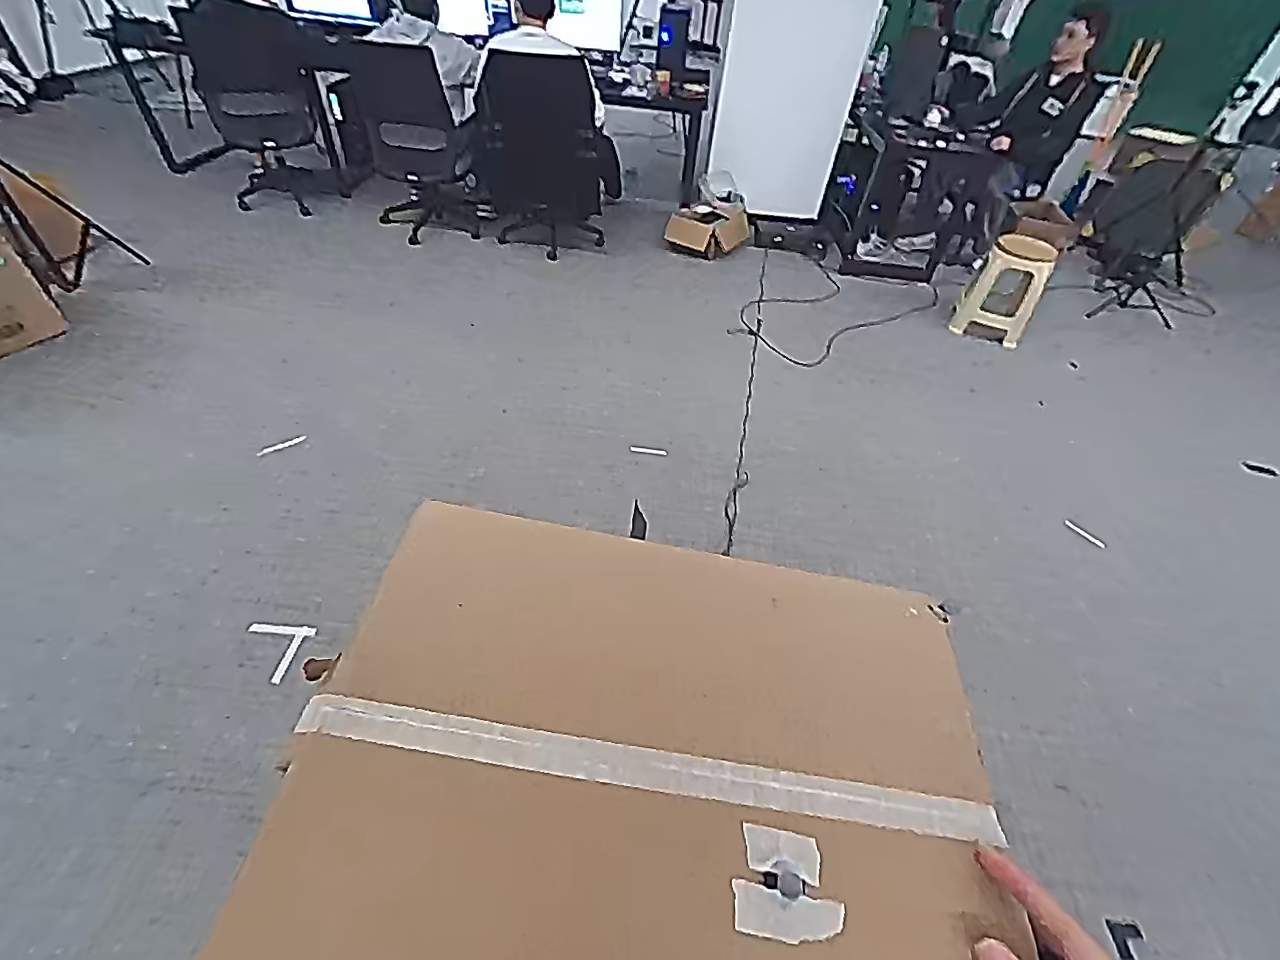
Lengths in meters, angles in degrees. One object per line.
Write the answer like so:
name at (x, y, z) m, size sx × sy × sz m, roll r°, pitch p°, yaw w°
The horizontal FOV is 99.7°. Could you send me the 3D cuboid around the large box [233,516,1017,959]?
large box at (-0.007, 0.270, 0.440) m, size 0.408 × 0.320 × 0.320 m, roll 12°, pitch 50°, yaw -3°
